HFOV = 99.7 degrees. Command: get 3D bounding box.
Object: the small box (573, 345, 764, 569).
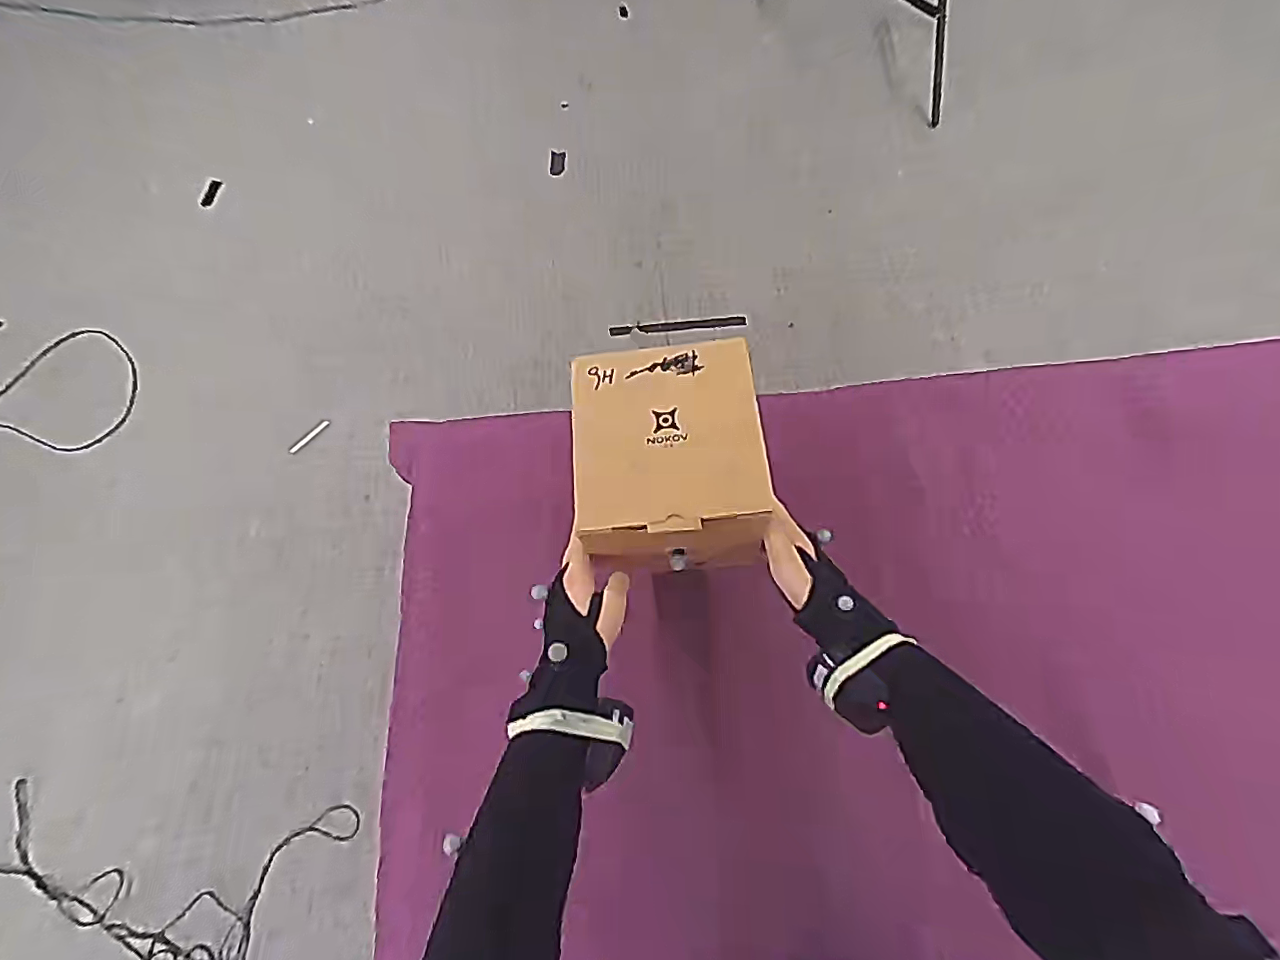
[{"bbox_3d":[0.030,-0.010,0.558,0.168,0.176,0.179,-5,67,5],"label":"small box"}]
